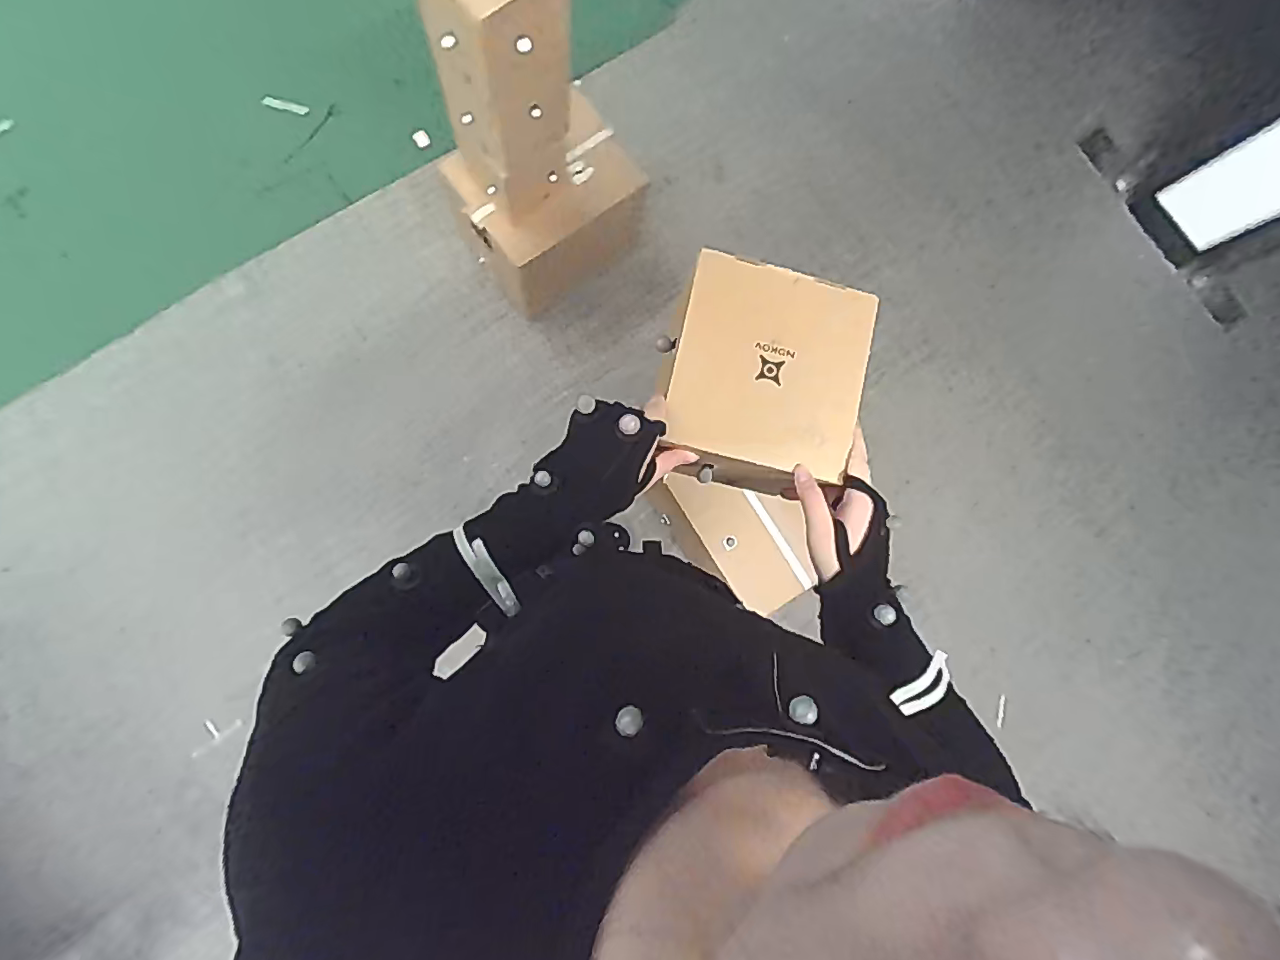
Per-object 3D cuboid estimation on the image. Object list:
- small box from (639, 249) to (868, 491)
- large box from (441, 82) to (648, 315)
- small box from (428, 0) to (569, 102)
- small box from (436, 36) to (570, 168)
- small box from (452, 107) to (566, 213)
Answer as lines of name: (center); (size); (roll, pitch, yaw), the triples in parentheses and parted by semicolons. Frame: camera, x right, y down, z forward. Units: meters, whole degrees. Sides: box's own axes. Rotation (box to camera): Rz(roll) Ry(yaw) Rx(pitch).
small box: (0.097, -0.091, 0.540); (0.168, 0.176, 0.179); (13, 83, -4)
large box: (-0.242, -0.720, 1.432); (0.408, 0.320, 0.320); (-38, 90, -11)
small box: (-0.224, -0.758, 0.858); (0.179, 0.176, 0.168); (-41, 90, -10)
small box: (-0.247, -0.741, 1.021); (0.179, 0.176, 0.168); (-43, 91, -11)
small box: (-0.275, -0.719, 1.181); (0.168, 0.176, 0.179); (-39, 89, -11)
